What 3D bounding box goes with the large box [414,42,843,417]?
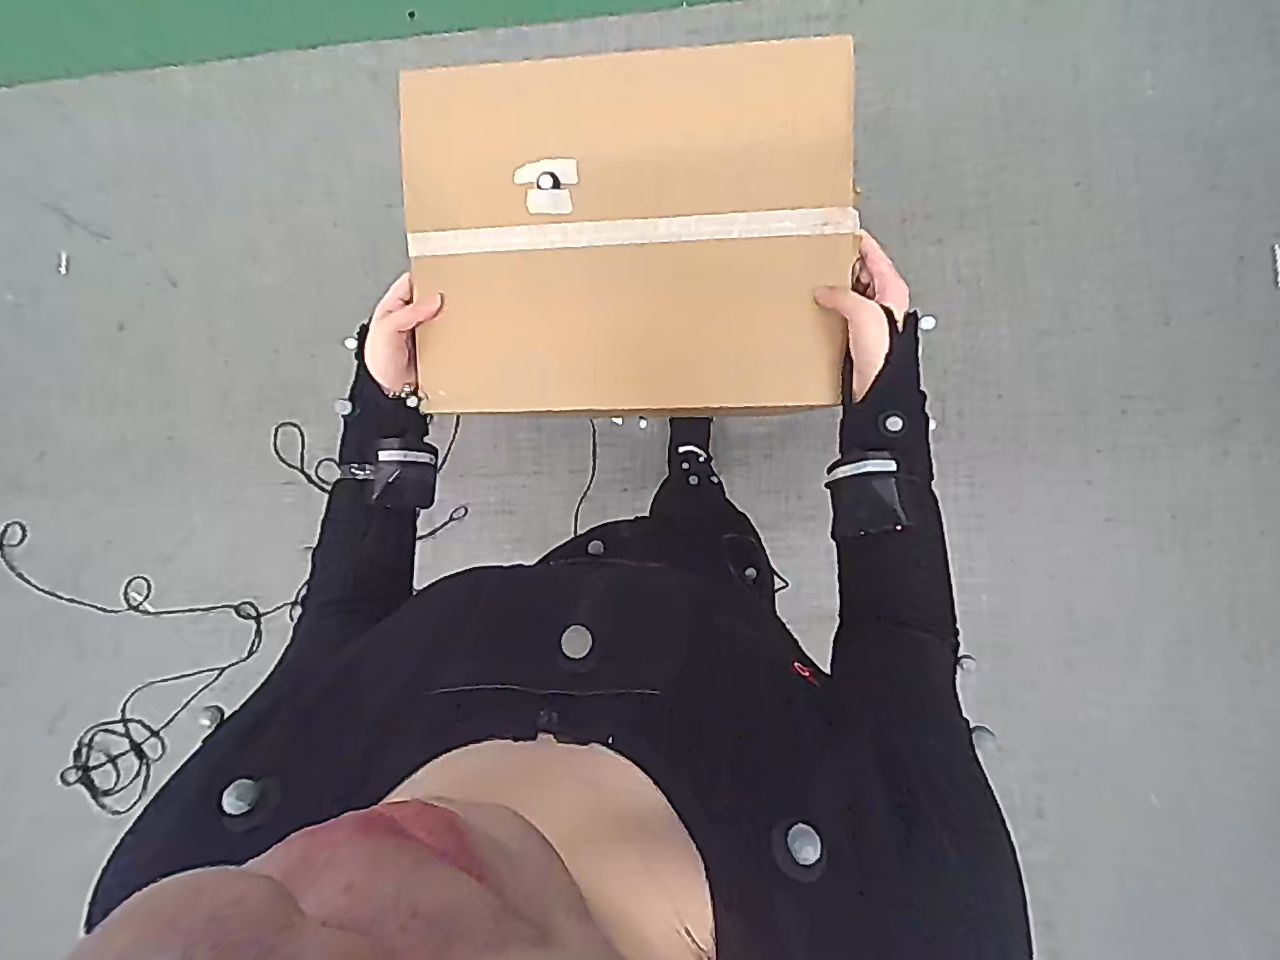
[{"bbox_3d":[0.003,-0.240,0.655,0.408,0.320,0.320,-1,95,7],"label":"large box"}]
